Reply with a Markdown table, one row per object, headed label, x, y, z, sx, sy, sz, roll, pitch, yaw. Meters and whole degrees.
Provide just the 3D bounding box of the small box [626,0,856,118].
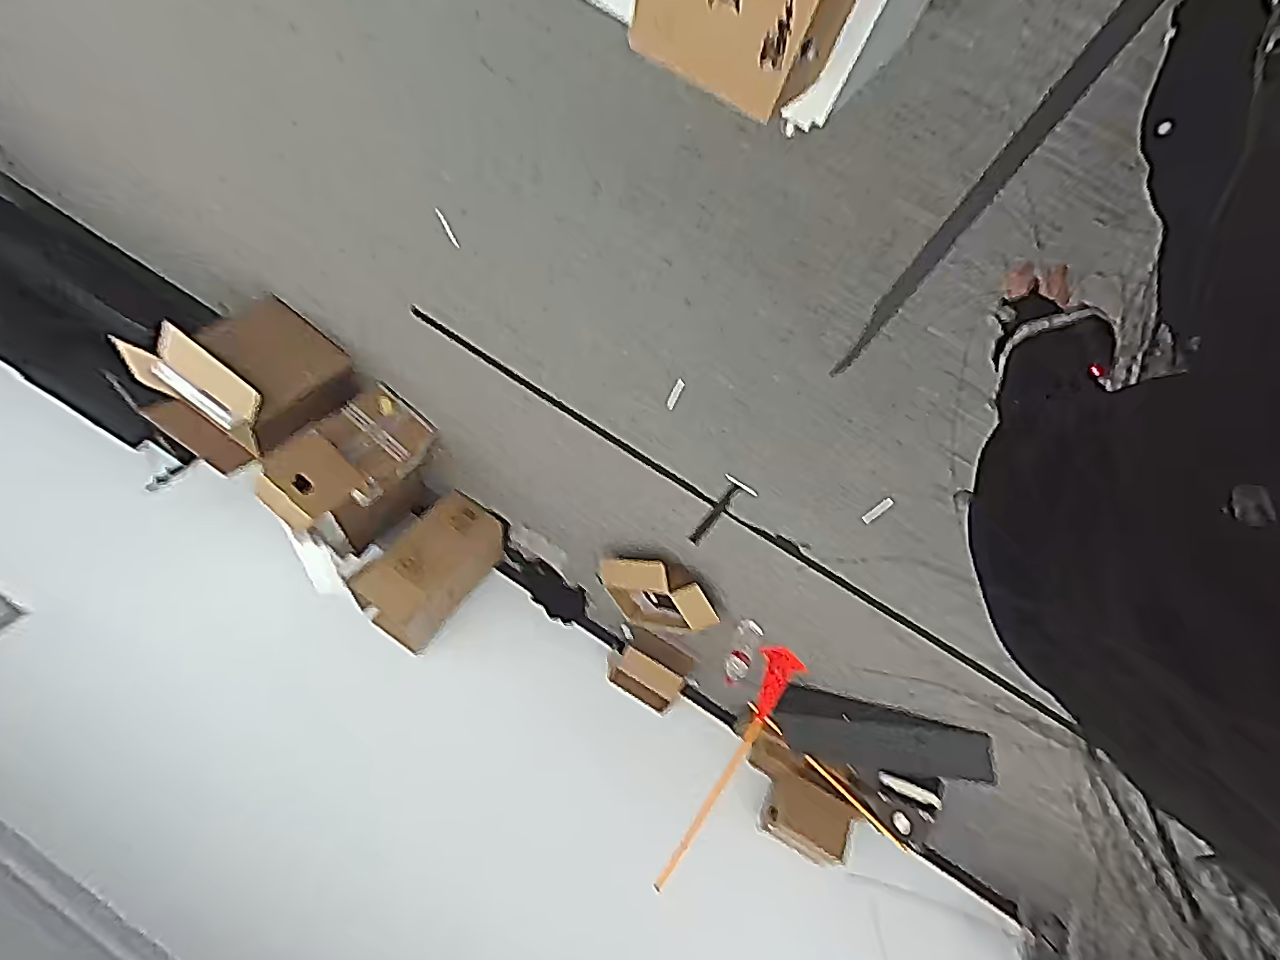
| label | x | y | z | sx | sy | sz | roll | pitch | yaw |
| --- | --- | --- | --- | --- | --- | --- | --- | --- | --- |
| small box | 0.117 | -0.506 | 0.539 | 0.179 | 0.176 | 0.168 | 34 | 145 | 5 |
